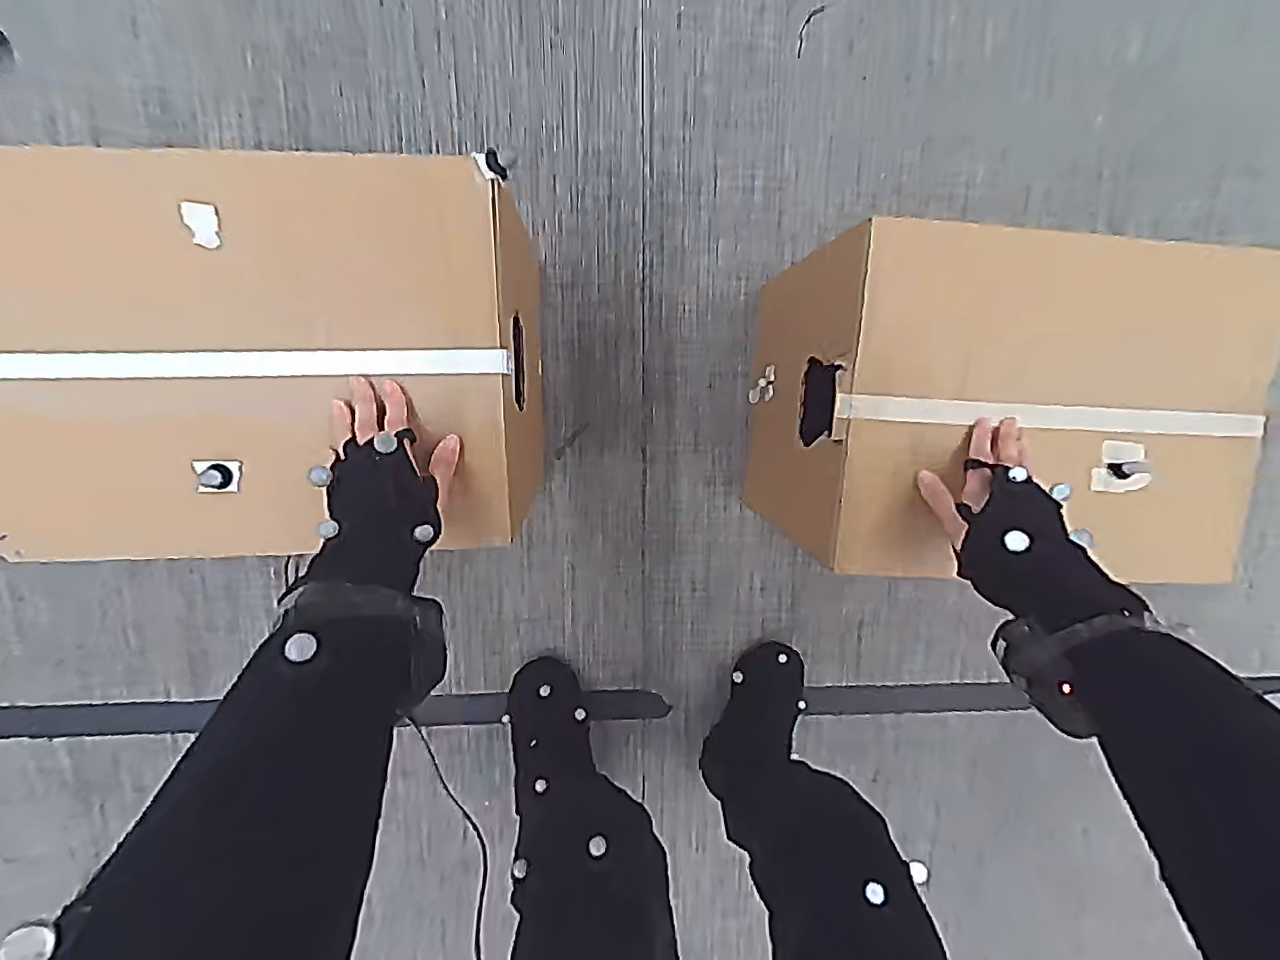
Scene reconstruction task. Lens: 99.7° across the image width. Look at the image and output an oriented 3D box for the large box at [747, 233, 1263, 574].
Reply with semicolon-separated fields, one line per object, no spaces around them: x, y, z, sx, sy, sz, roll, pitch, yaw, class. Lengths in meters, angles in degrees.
0.370;-0.081;0.658;0.408;0.320;0.320;2;100;-6;large box
